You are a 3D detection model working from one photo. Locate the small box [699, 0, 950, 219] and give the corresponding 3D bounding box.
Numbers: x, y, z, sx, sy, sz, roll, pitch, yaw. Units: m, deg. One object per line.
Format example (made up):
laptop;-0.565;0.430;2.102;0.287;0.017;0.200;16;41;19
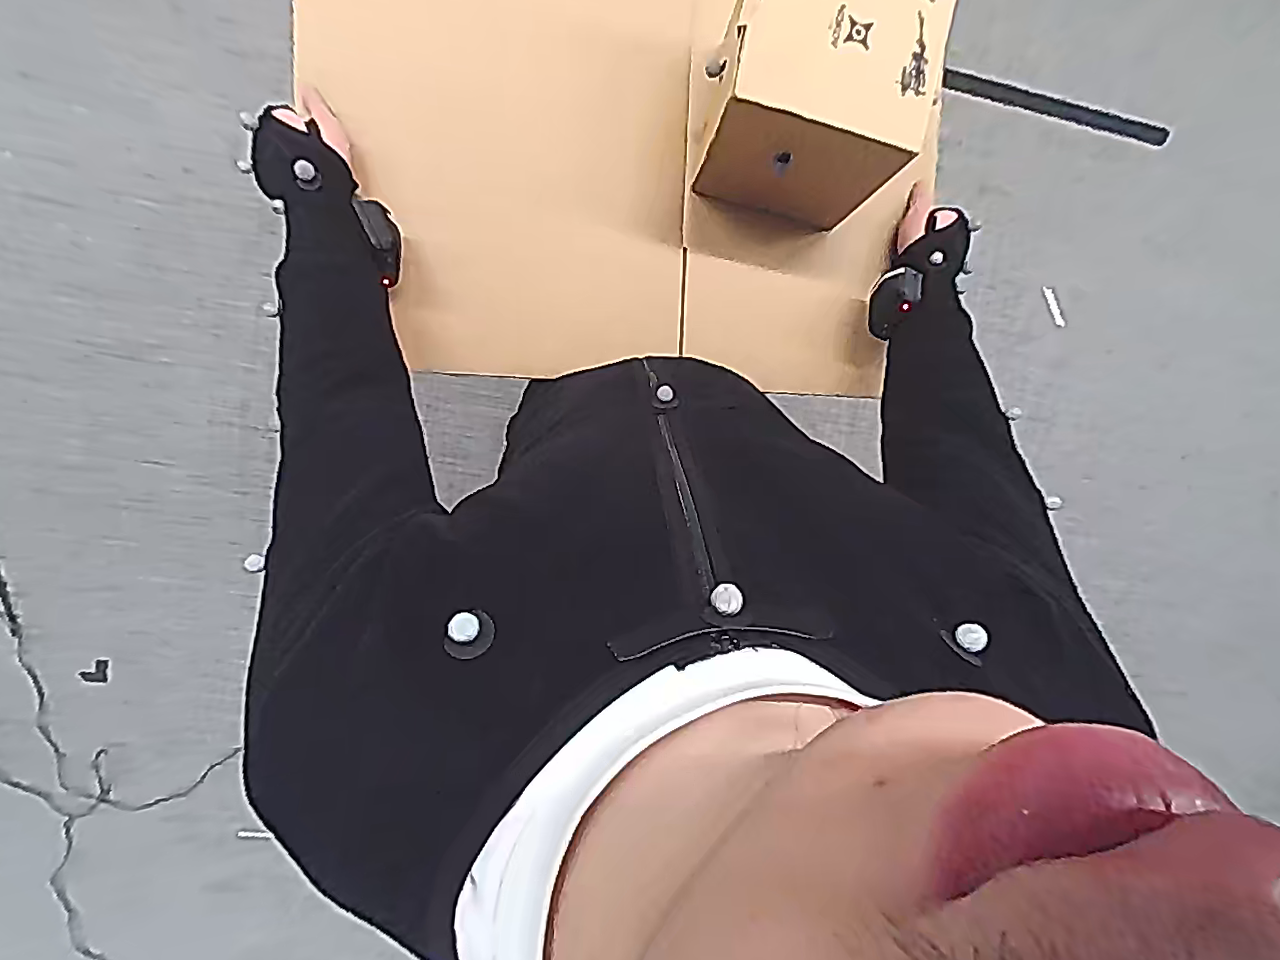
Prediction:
small box;0.169;-0.390;0.543;0.179;0.176;0.168;12;93;-6
